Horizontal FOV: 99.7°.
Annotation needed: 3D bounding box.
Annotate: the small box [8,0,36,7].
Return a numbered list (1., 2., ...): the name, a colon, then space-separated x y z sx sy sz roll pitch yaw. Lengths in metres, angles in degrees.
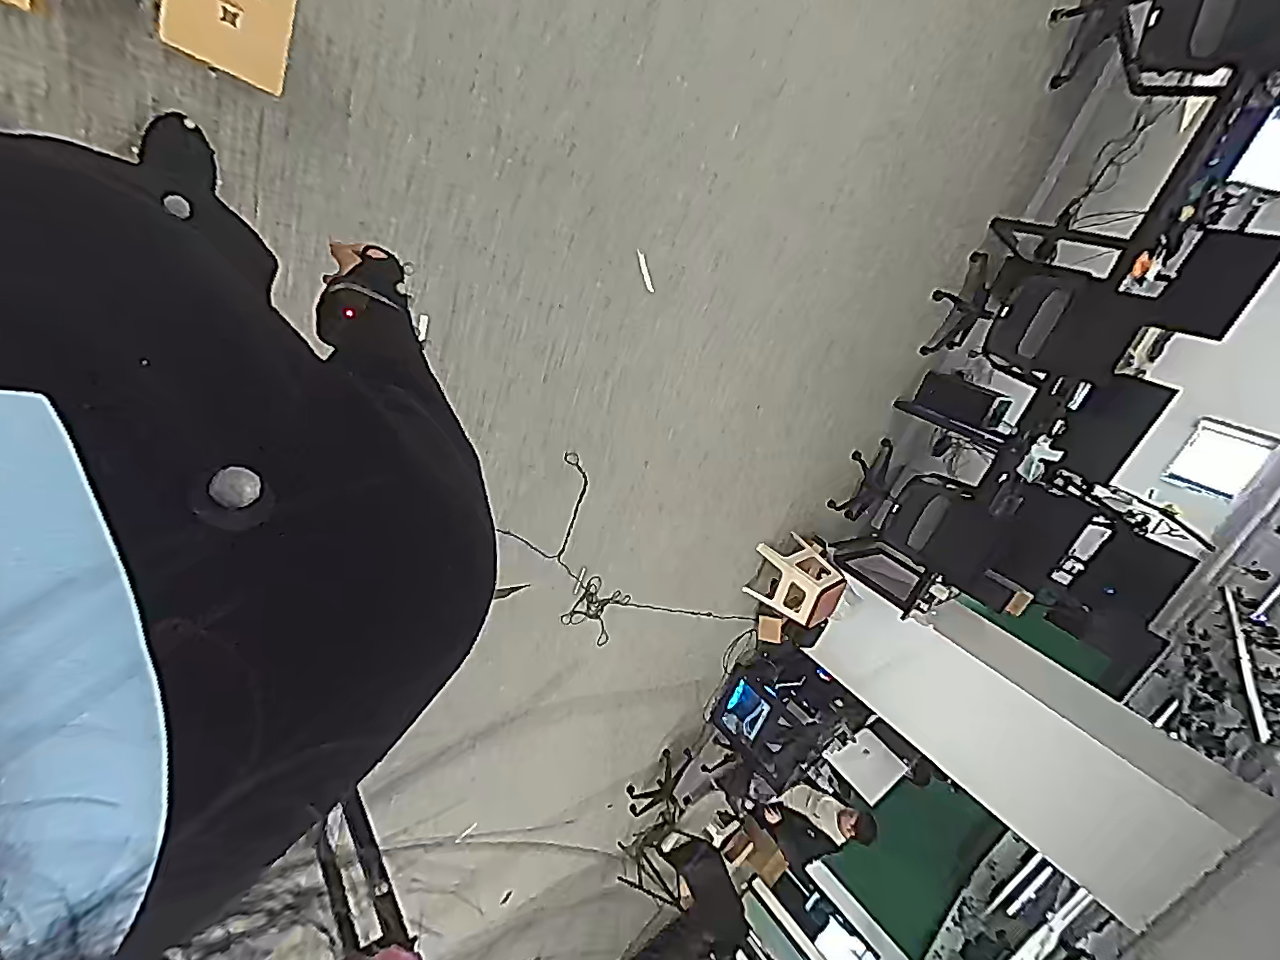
1. small box: -0.930 -0.780 0.718 0.168 0.176 0.179 2 118 -45

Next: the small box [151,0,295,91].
1. small box: -0.708 -0.800 0.916 0.168 0.176 0.179 5 115 -47
